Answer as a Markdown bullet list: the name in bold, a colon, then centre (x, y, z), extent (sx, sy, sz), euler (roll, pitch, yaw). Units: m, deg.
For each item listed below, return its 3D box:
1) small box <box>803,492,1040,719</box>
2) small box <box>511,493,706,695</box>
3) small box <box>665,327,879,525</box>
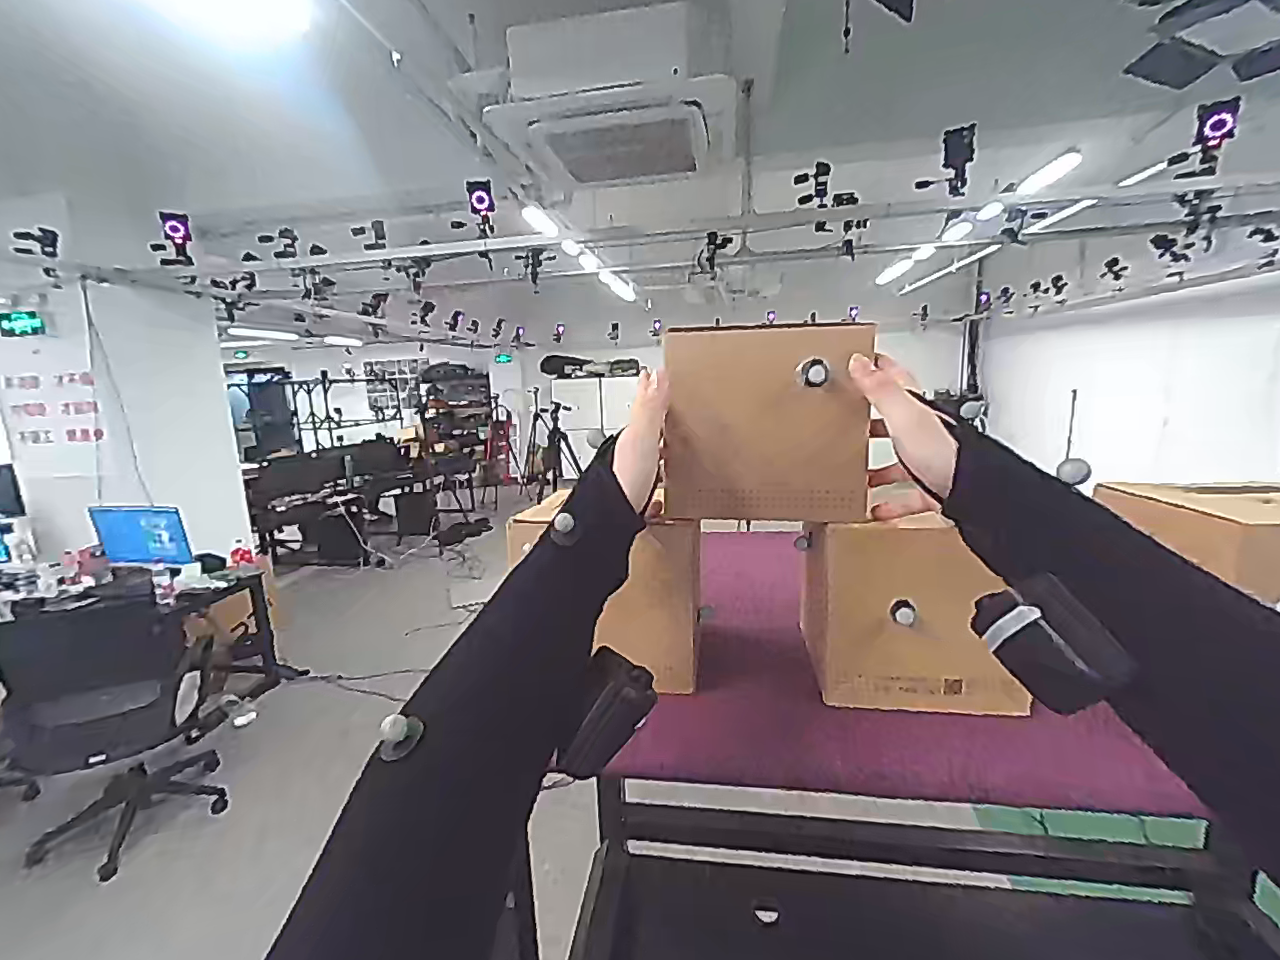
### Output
- **small box**: centre (0.255, 0.111, 0.528), extent (0.168, 0.176, 0.179), euler (-2, 8, 11)
- **small box**: centre (-0.021, 0.111, 0.580), extent (0.179, 0.176, 0.168), euler (0, 9, 9)
- **small box**: centre (0.123, -0.053, 0.535), extent (0.179, 0.176, 0.168), euler (0, 8, 11)
